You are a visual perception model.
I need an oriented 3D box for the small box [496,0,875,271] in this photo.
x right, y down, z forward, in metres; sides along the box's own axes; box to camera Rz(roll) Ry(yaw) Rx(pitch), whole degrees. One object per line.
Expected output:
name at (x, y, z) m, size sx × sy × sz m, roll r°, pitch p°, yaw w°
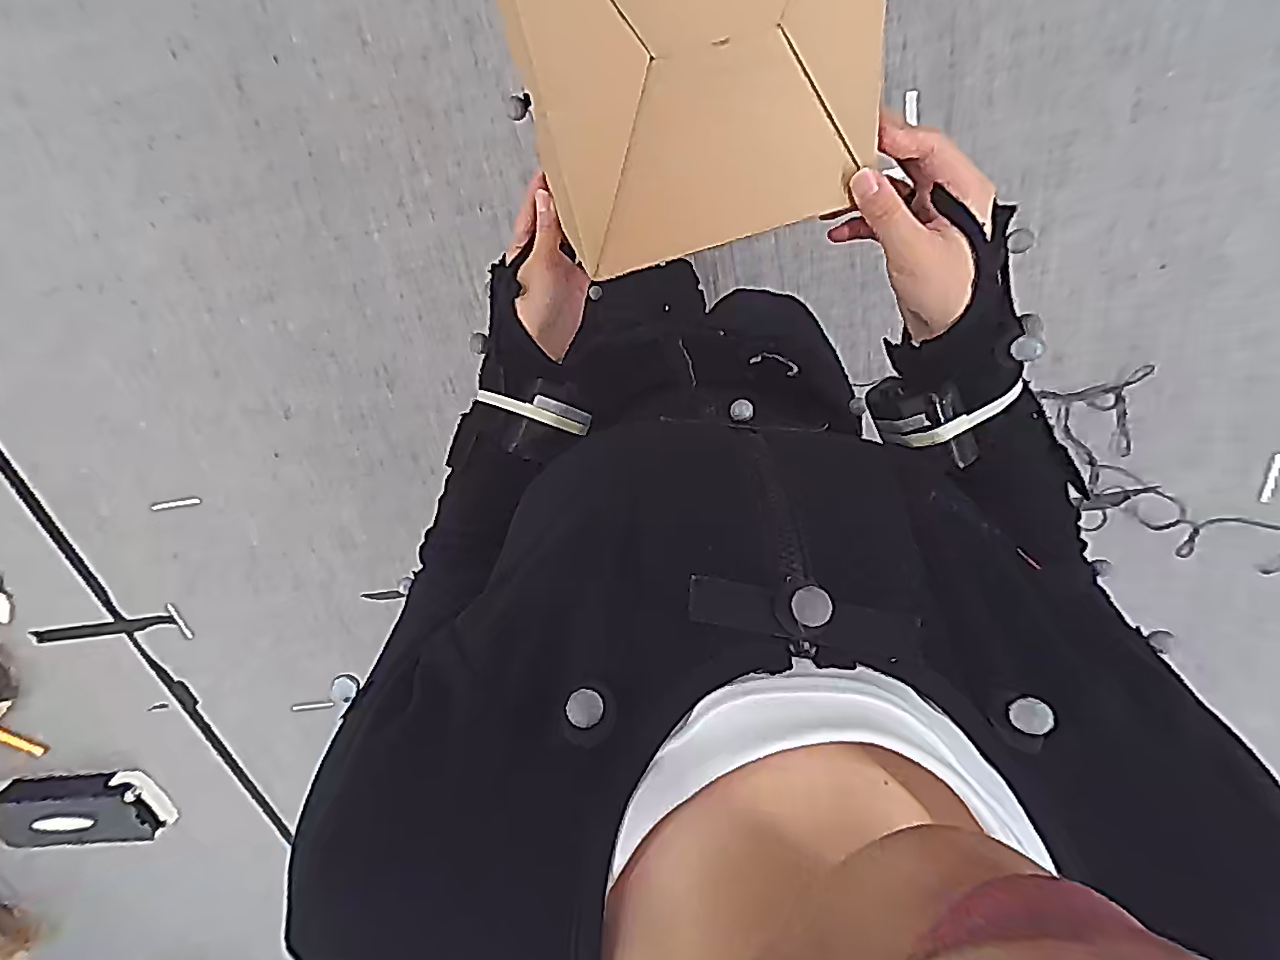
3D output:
small box at (0.016, -0.246, 0.307) m, size 0.168 × 0.176 × 0.179 m, roll -17°, pitch 128°, yaw -3°
